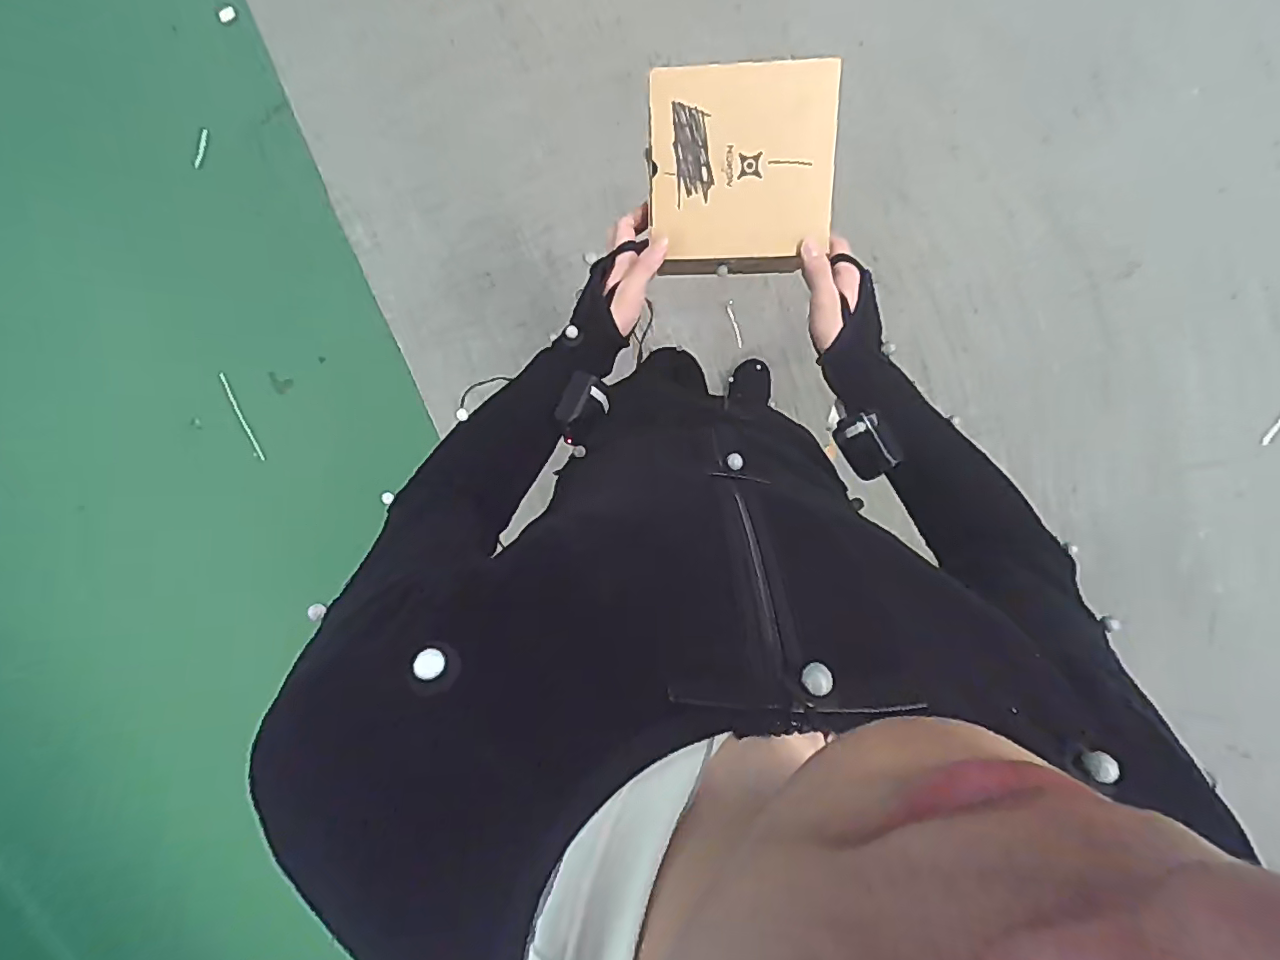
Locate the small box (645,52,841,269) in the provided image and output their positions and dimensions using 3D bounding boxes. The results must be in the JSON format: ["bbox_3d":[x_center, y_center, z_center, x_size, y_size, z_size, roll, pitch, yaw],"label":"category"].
[{"bbox_3d":[0.099,-0.324,0.584,0.179,0.176,0.168,0,106,4],"label":"small box"}]
